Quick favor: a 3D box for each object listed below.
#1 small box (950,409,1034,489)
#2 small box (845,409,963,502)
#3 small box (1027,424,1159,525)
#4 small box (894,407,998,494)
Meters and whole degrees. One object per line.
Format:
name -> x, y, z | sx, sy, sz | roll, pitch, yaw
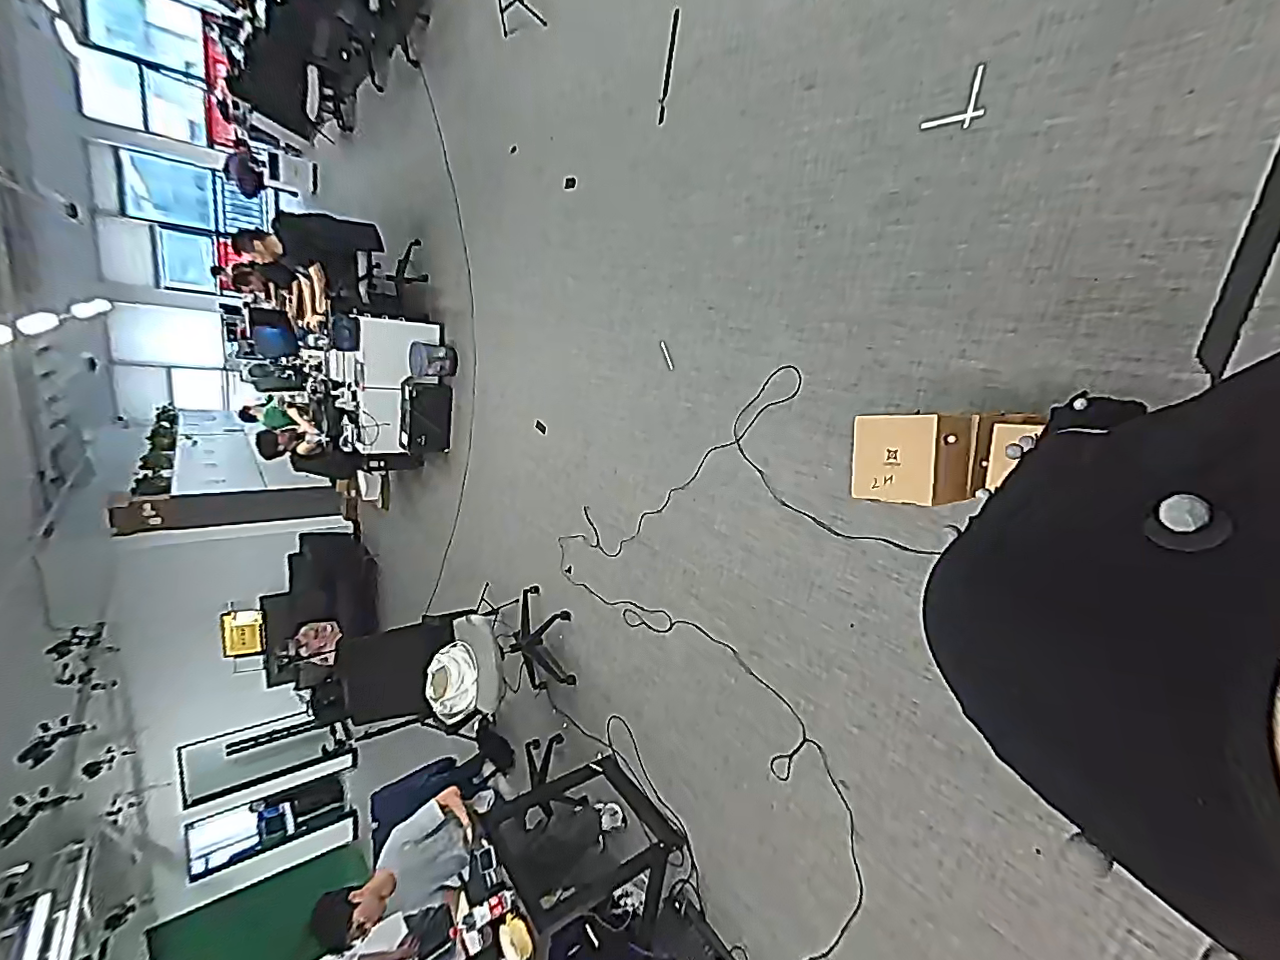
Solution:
small box -> 0.825, -0.080, 1.305 | 0.168, 0.176, 0.179 | 11, 102, 49
small box -> 0.550, -0.056, 1.123 | 0.168, 0.176, 0.179 | 8, 99, 50
small box -> 0.962, -0.020, 1.147 | 0.168, 0.176, 0.179 | 22, 111, 48
small box -> 0.682, -0.071, 1.221 | 0.168, 0.176, 0.179 | 13, 102, 49
